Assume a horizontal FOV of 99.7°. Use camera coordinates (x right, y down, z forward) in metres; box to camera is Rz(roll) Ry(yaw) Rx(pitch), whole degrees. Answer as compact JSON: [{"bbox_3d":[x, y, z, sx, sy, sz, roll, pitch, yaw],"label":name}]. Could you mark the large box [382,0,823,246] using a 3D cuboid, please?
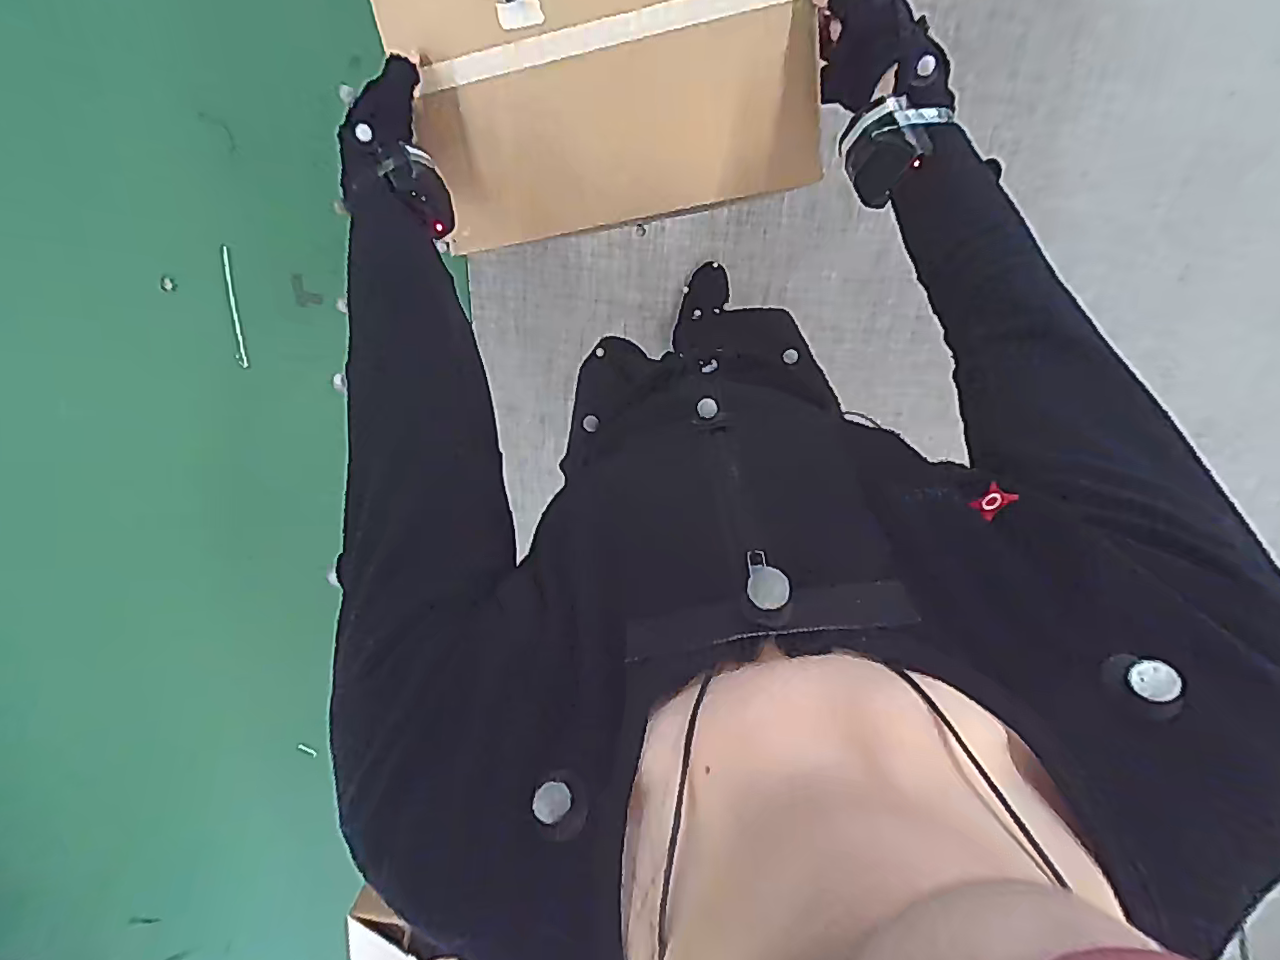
[{"bbox_3d":[-0.025,-0.488,0.641,0.408,0.320,0.320,-7,114,9],"label":"large box"}]
